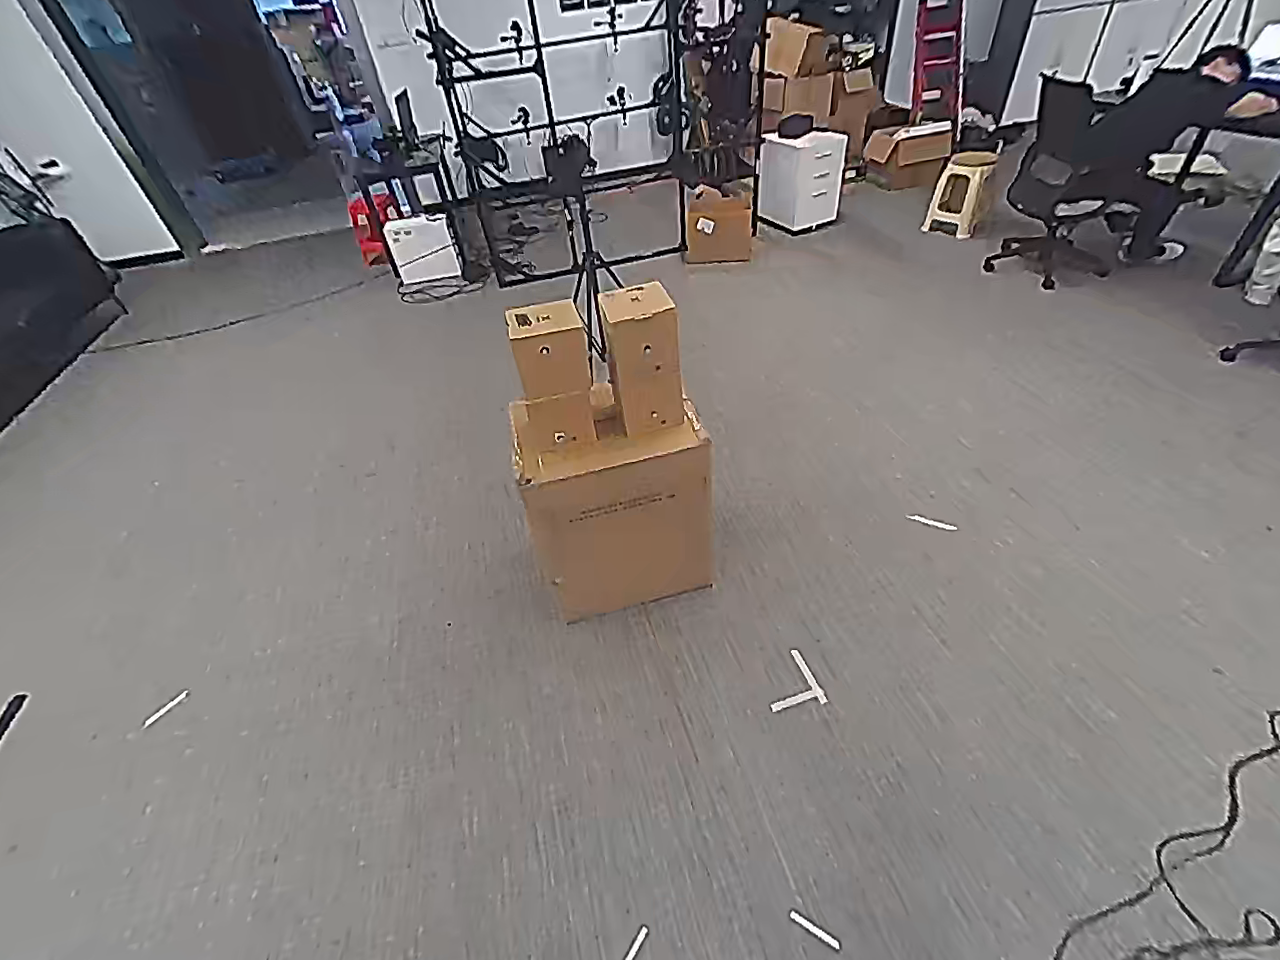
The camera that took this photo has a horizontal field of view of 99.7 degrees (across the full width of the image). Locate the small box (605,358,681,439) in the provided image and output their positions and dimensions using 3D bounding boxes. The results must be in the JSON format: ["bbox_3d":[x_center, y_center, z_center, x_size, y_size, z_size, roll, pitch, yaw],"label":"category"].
[{"bbox_3d":[0.010,-0.241,1.491,0.168,0.176,0.179,-15,43,-6],"label":"small box"}]

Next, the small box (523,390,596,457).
[{"bbox_3d":[-0.223,-0.190,1.474,0.168,0.176,0.179,-14,43,-7],"label":"small box"}]

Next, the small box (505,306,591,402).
[{"bbox_3d":[-0.232,-0.317,1.370,0.179,0.176,0.168,-13,42,-7],"label":"small box"}]

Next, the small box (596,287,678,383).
[{"bbox_3d":[-0.007,-0.365,1.385,0.168,0.176,0.179,-14,43,-5],"label":"small box"}]
